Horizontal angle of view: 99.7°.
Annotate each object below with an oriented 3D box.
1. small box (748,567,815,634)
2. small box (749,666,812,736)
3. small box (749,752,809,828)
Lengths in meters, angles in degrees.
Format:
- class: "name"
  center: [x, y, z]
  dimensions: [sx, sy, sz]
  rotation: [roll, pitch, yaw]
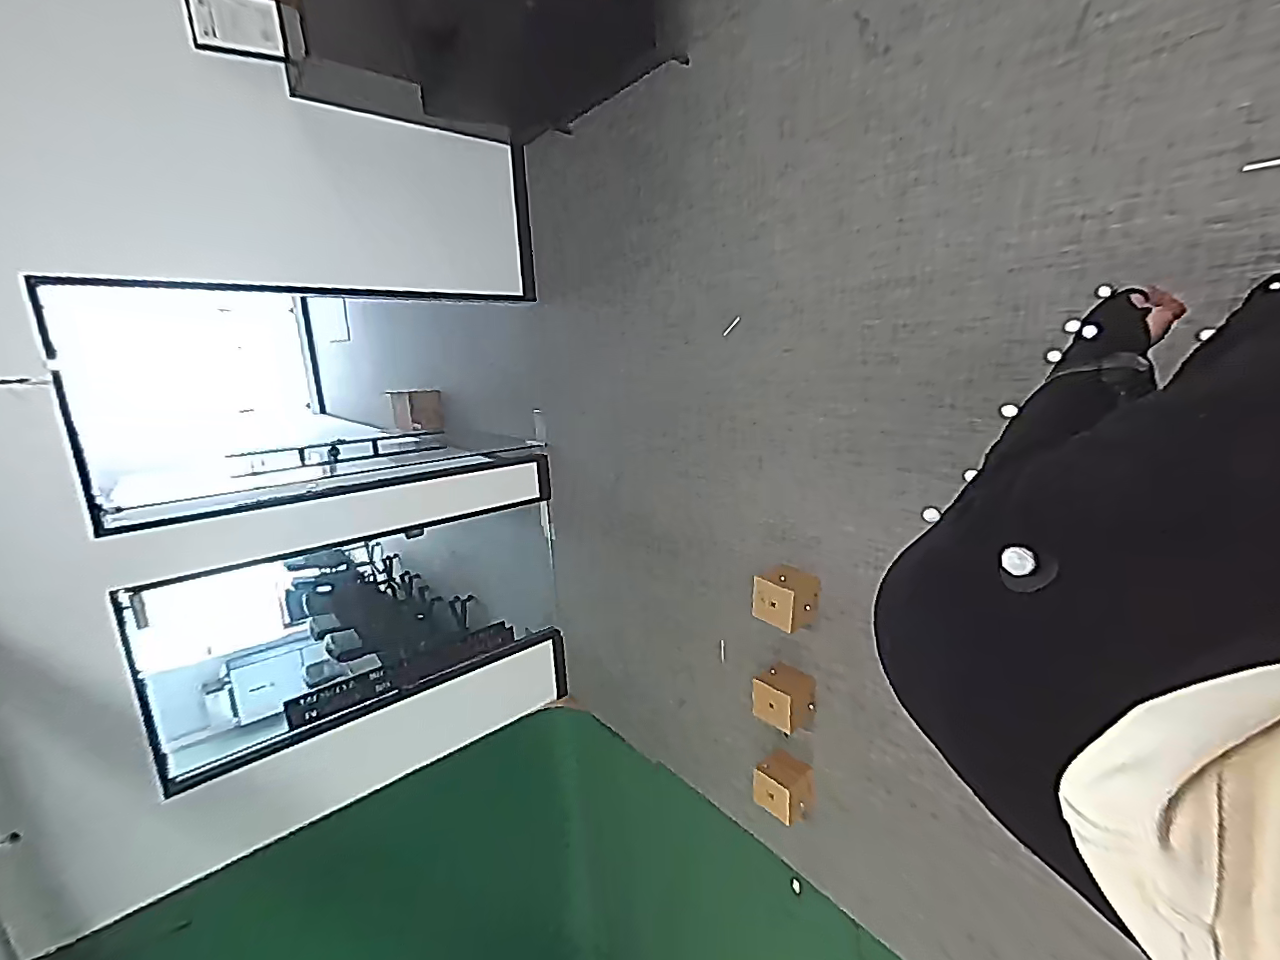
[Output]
- class: "small box"
  center: [0.525, 0.436, 1.998]
  dimensions: [0.179, 0.176, 0.168]
  rotation: [18, 113, 47]
- class: "small box"
  center: [0.542, 0.844, 2.090]
  dimensions: [0.179, 0.176, 0.168]
  rotation: [12, 109, 49]
- class: "small box"
  center: [0.561, 1.235, 2.172]
  dimensions: [0.179, 0.176, 0.168]
  rotation: [12, 109, 50]
